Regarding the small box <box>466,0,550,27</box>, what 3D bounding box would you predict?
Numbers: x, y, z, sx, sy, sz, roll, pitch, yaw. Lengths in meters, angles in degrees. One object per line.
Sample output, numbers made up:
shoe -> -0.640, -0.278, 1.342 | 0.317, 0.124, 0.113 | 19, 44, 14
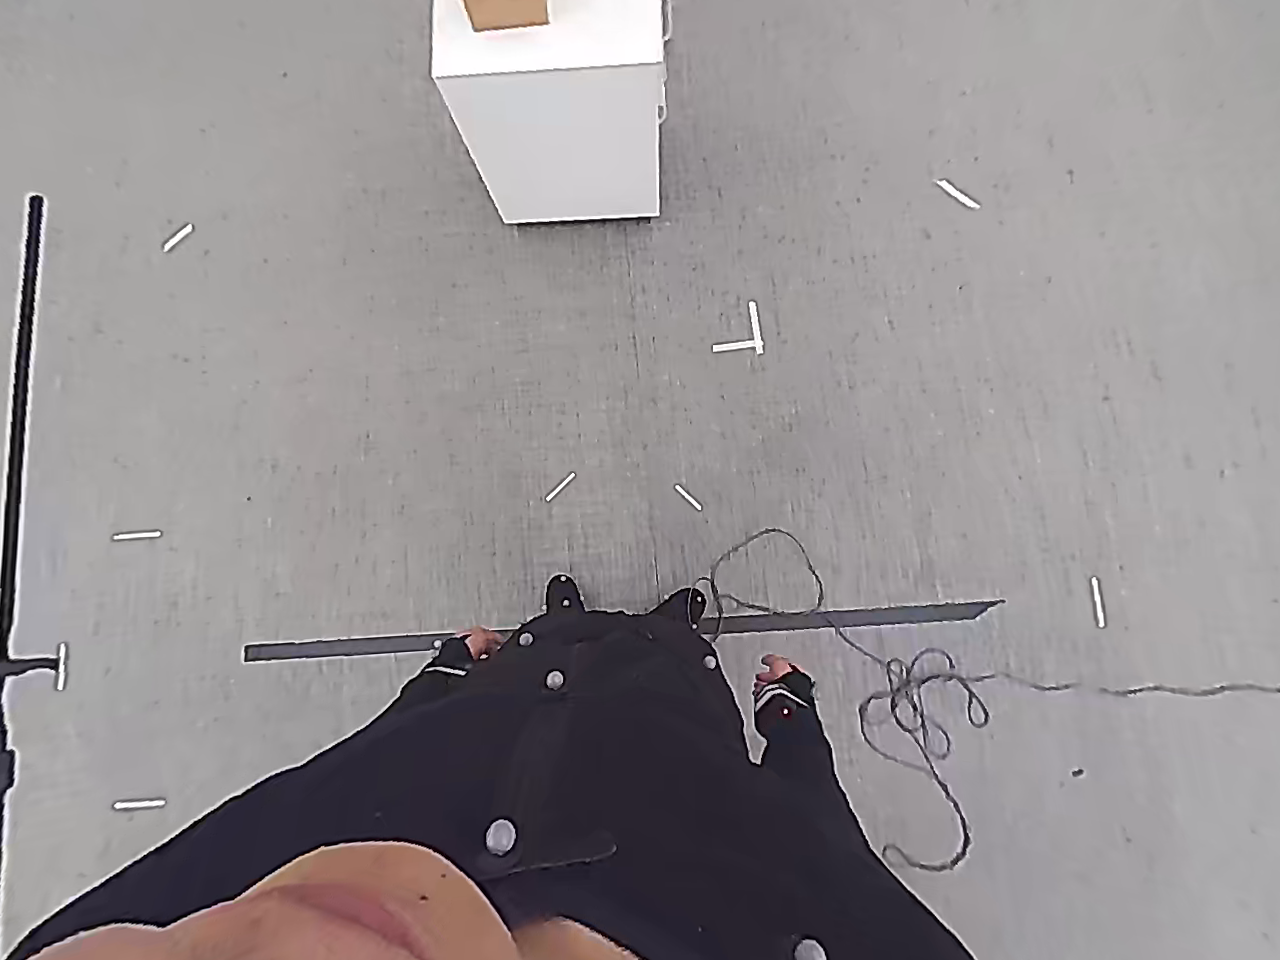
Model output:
small box -> -0.296, -1.111, 1.147 | 0.179, 0.176, 0.168 | -4, 83, 1
